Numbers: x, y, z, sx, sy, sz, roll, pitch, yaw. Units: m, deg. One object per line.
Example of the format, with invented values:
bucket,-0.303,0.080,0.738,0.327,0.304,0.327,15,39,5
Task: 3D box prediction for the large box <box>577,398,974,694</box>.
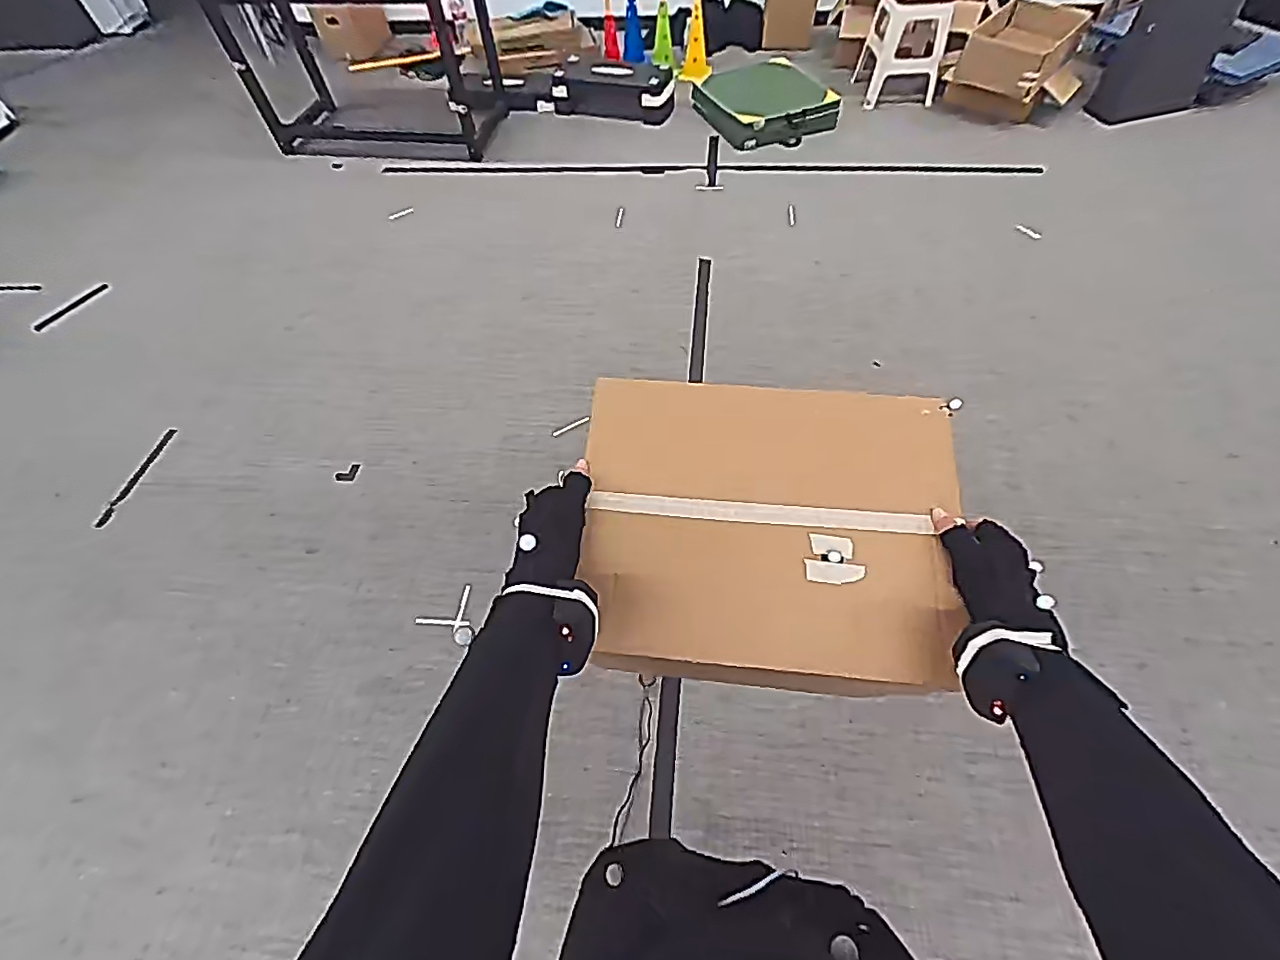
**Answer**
large box,0.145,0.108,0.732,0.408,0.320,0.320,4,68,4
